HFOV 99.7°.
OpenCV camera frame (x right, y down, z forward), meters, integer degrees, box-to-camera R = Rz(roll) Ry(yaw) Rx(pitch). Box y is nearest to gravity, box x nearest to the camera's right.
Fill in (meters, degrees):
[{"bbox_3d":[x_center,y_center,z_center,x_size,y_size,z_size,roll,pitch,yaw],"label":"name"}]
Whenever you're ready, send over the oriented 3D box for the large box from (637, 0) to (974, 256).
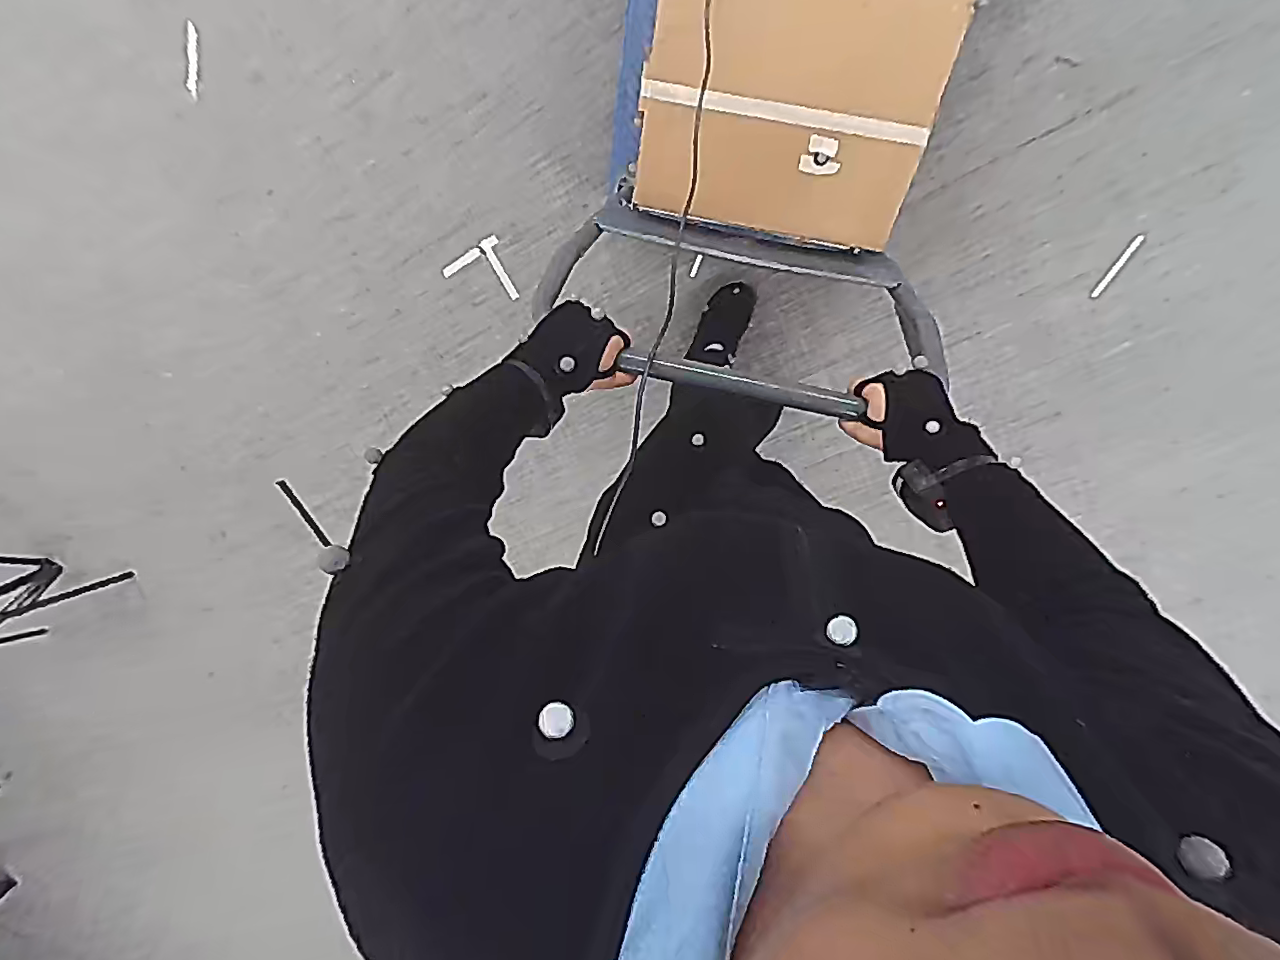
[{"bbox_3d":[0.227,-0.596,0.895,0.408,0.320,0.320,12,126,2],"label":"large box"}]
